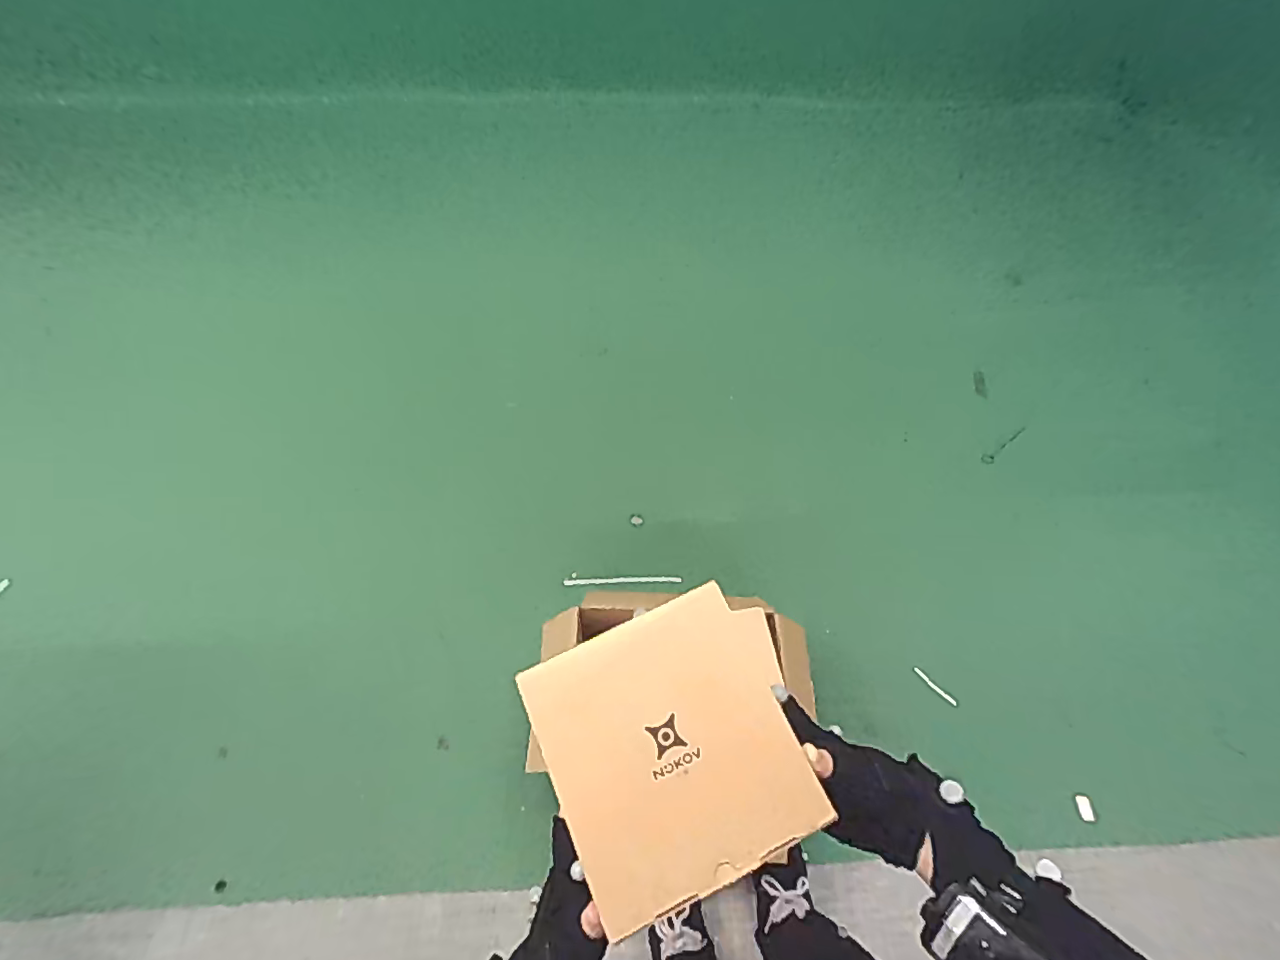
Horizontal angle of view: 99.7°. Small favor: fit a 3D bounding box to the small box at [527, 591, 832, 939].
[{"bbox_3d":[0.022,0.218,0.454,0.168,0.176,0.179,-23,71,-8],"label":"small box"}]
